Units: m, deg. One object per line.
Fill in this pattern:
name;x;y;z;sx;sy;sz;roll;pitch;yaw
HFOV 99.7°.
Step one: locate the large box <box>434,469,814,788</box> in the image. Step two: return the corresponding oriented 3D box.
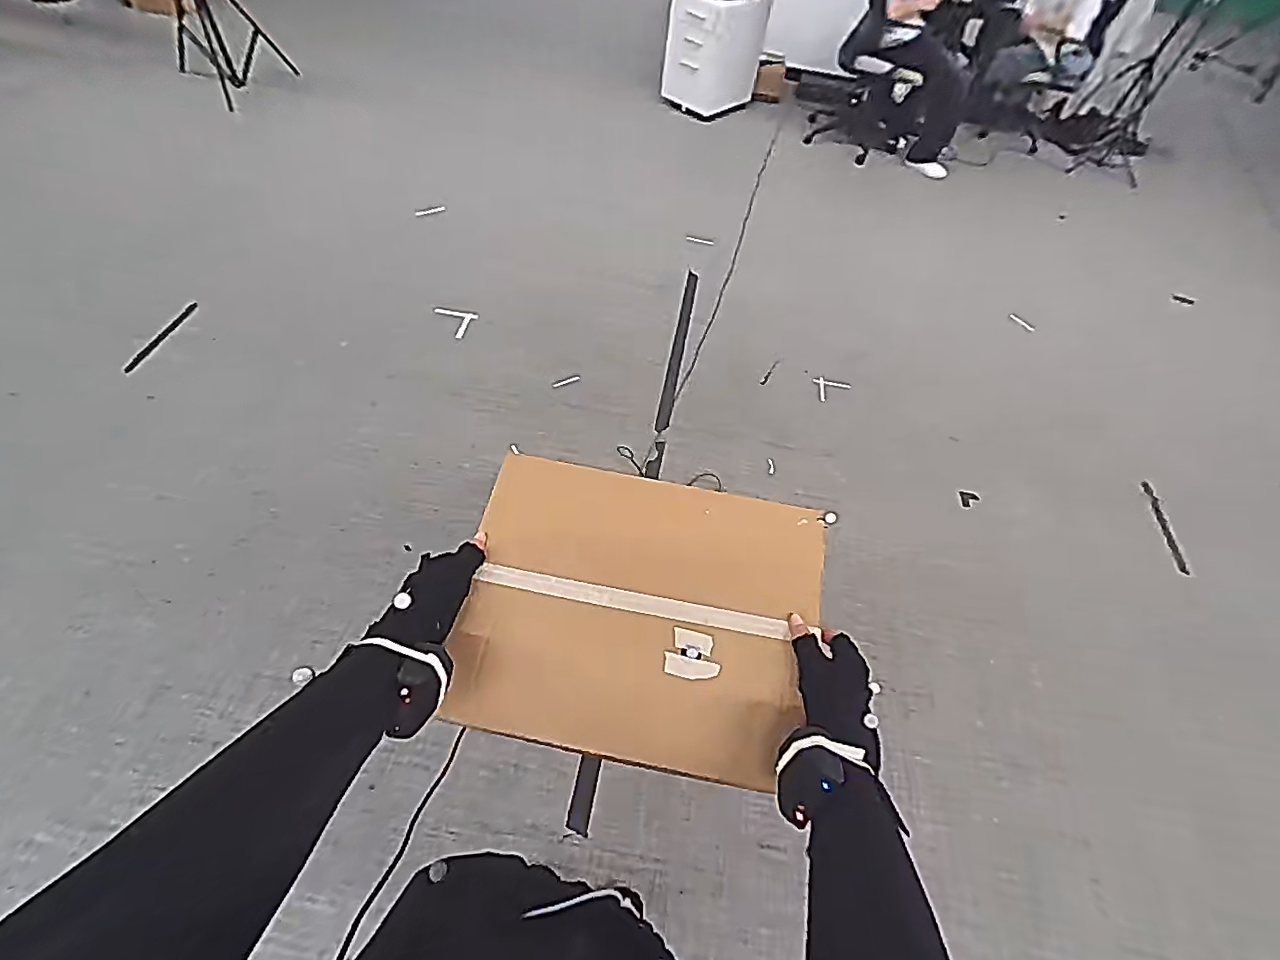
large box;-0.007;0.218;0.758;0.408;0.320;0.320;10;63;3
